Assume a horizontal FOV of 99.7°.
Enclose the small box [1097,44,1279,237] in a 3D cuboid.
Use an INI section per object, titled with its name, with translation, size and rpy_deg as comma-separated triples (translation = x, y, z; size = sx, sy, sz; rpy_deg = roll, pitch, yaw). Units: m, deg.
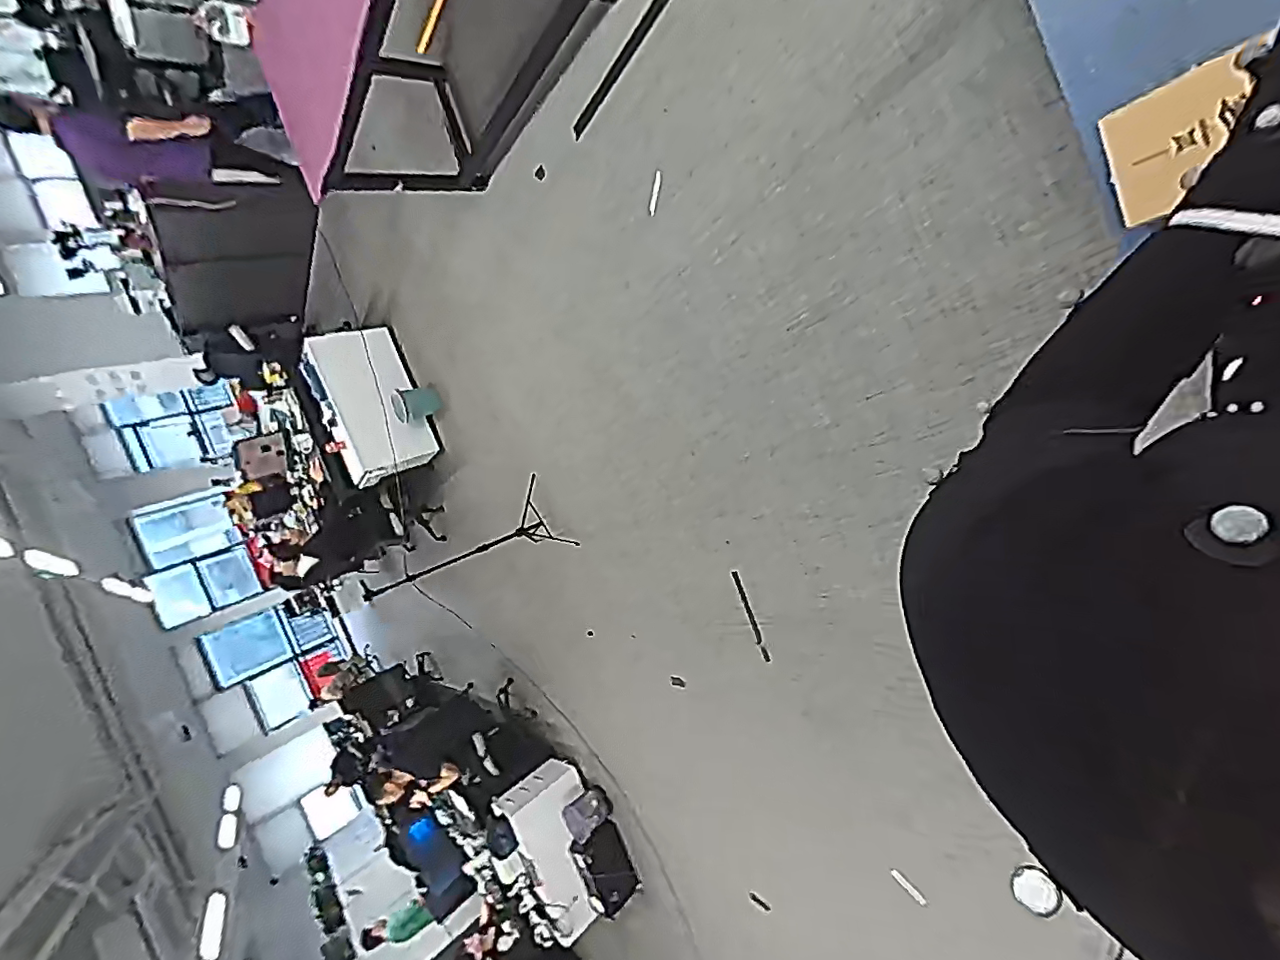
[small box]
translation = 0.810, -0.477, 0.787
size = 0.179, 0.176, 0.168
rpy_deg = -13, 97, 52
